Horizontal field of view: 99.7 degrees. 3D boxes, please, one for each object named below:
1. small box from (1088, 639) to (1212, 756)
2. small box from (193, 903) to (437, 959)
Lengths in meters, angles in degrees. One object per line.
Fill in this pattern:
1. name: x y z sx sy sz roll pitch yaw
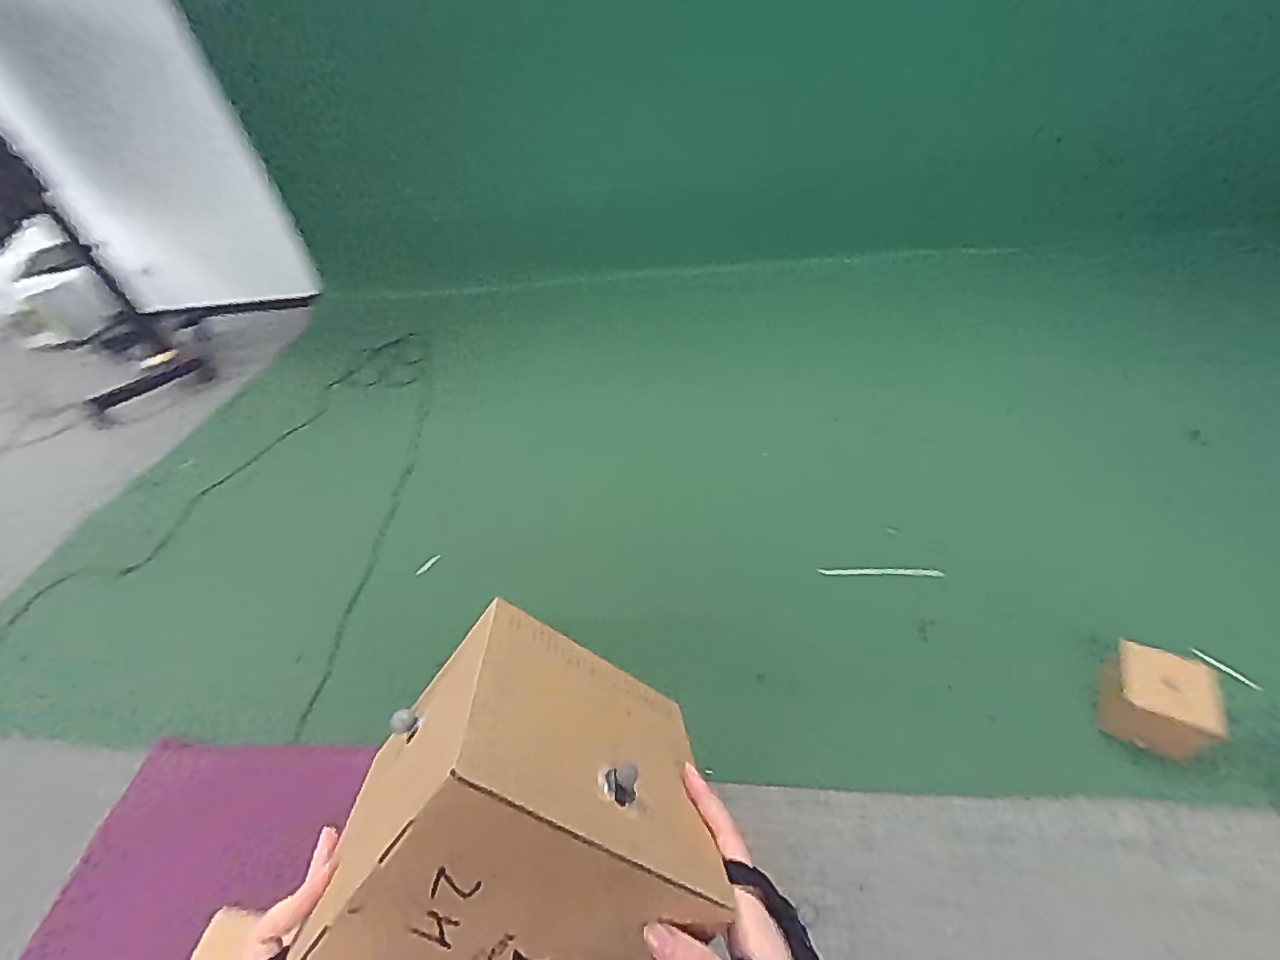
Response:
1. small box: 1.226 0.529 1.316 0.168 0.176 0.179 16 48 26
2. small box: -0.329 0.533 0.516 0.179 0.176 0.168 0 44 10
